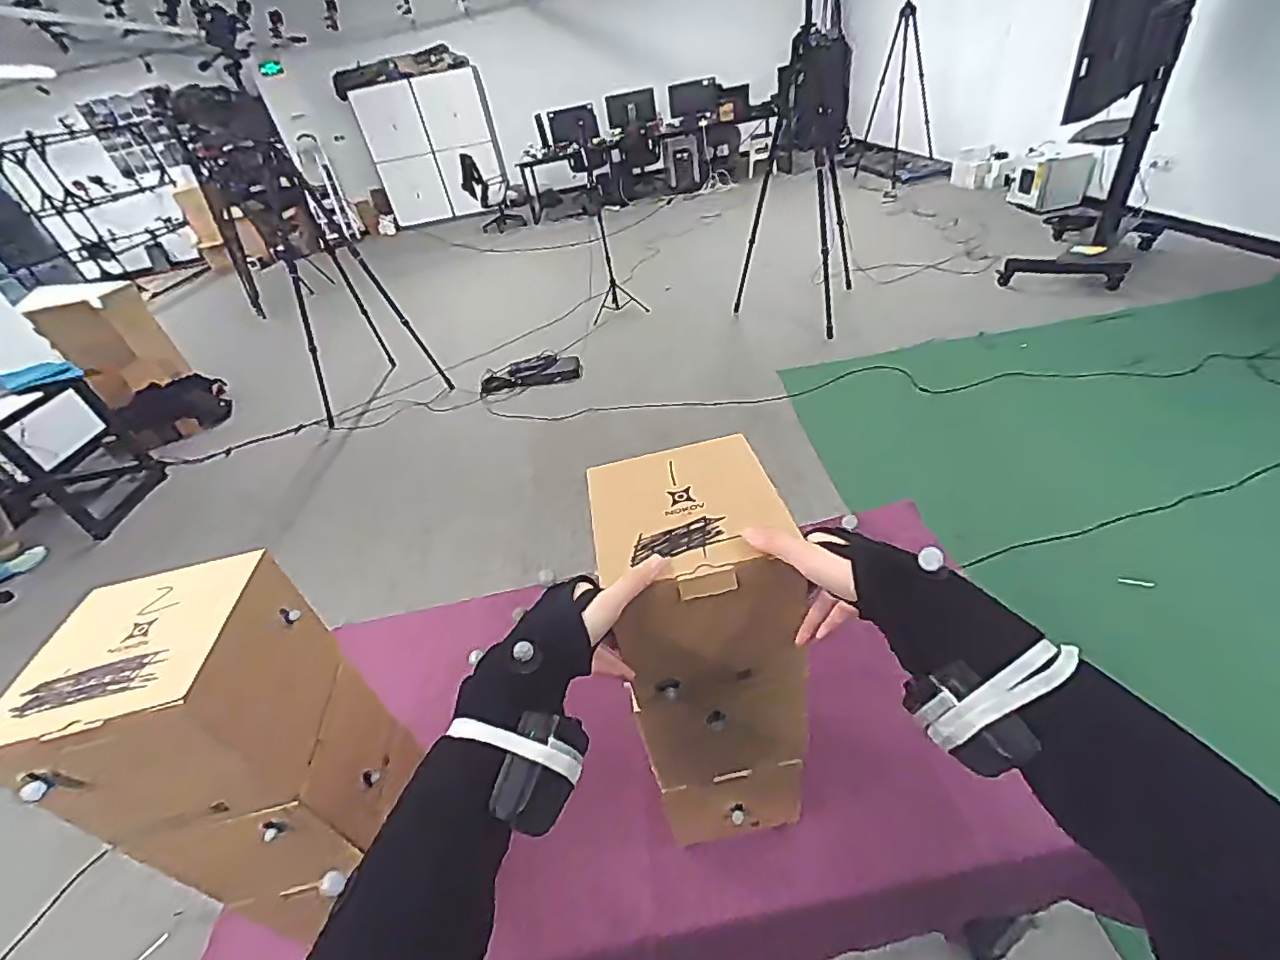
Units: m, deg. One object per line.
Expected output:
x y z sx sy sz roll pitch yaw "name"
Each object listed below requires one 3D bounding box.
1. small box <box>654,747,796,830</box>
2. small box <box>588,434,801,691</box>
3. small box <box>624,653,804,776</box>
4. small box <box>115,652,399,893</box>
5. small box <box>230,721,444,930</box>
0.103 0.343 0.729 0.168 0.176 0.179 -12 38 0 "small box"
0.051 0.084 0.531 0.168 0.176 0.179 -12 36 -1 "small box"
0.079 0.215 0.627 0.179 0.176 0.168 -12 38 -1 "small box"
-0.403 0.330 0.612 0.179 0.176 0.168 -13 37 -4 "small box"
-0.373 0.456 0.710 0.168 0.176 0.179 -12 37 -2 "small box"
